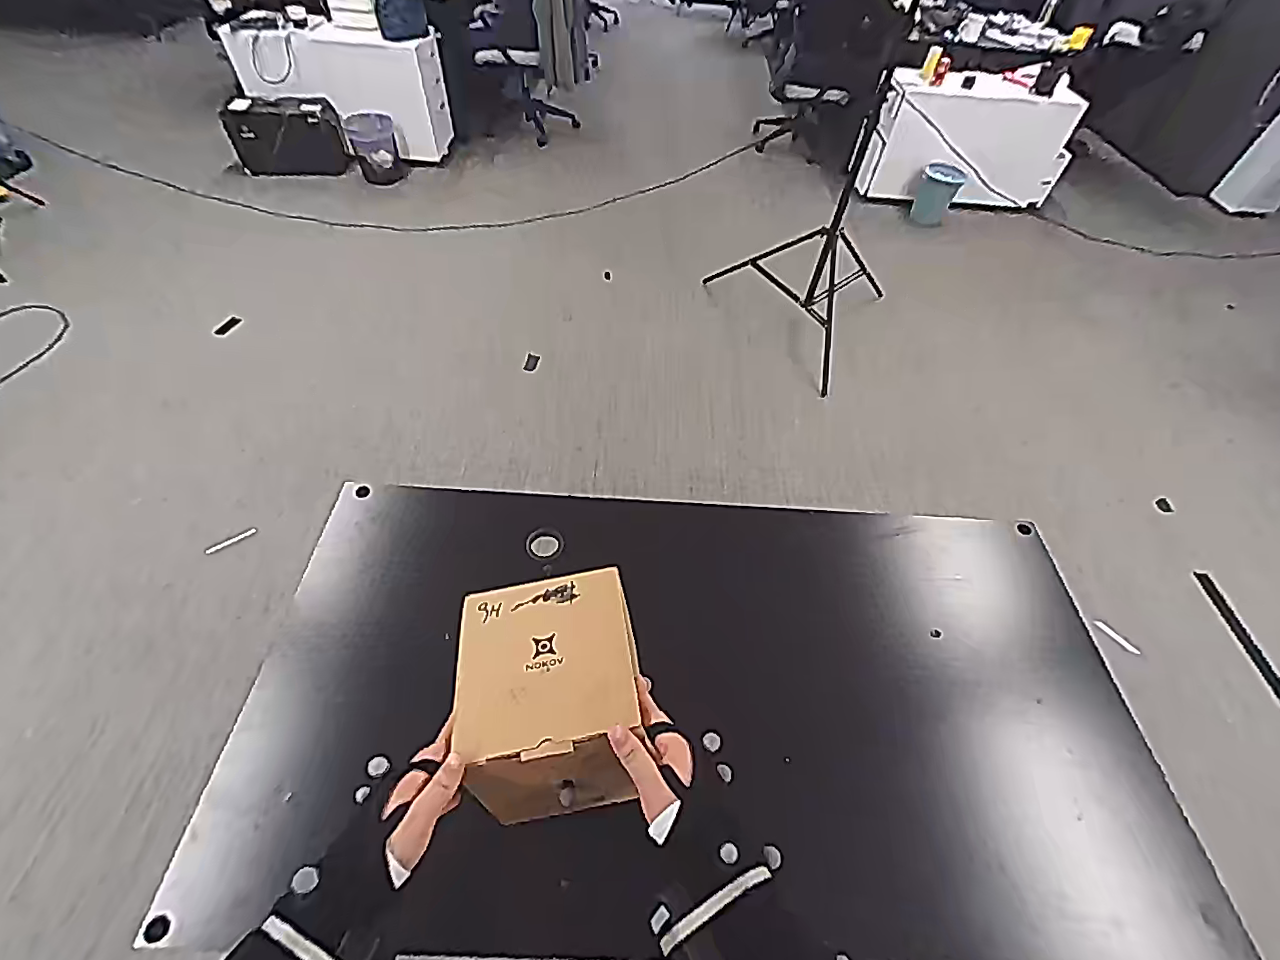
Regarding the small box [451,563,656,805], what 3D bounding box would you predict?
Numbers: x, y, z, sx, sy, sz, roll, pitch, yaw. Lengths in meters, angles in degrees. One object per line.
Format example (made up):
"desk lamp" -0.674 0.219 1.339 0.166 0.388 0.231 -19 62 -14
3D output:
"small box" -0.082 0.218 0.566 0.168 0.176 0.179 -11 45 -2
